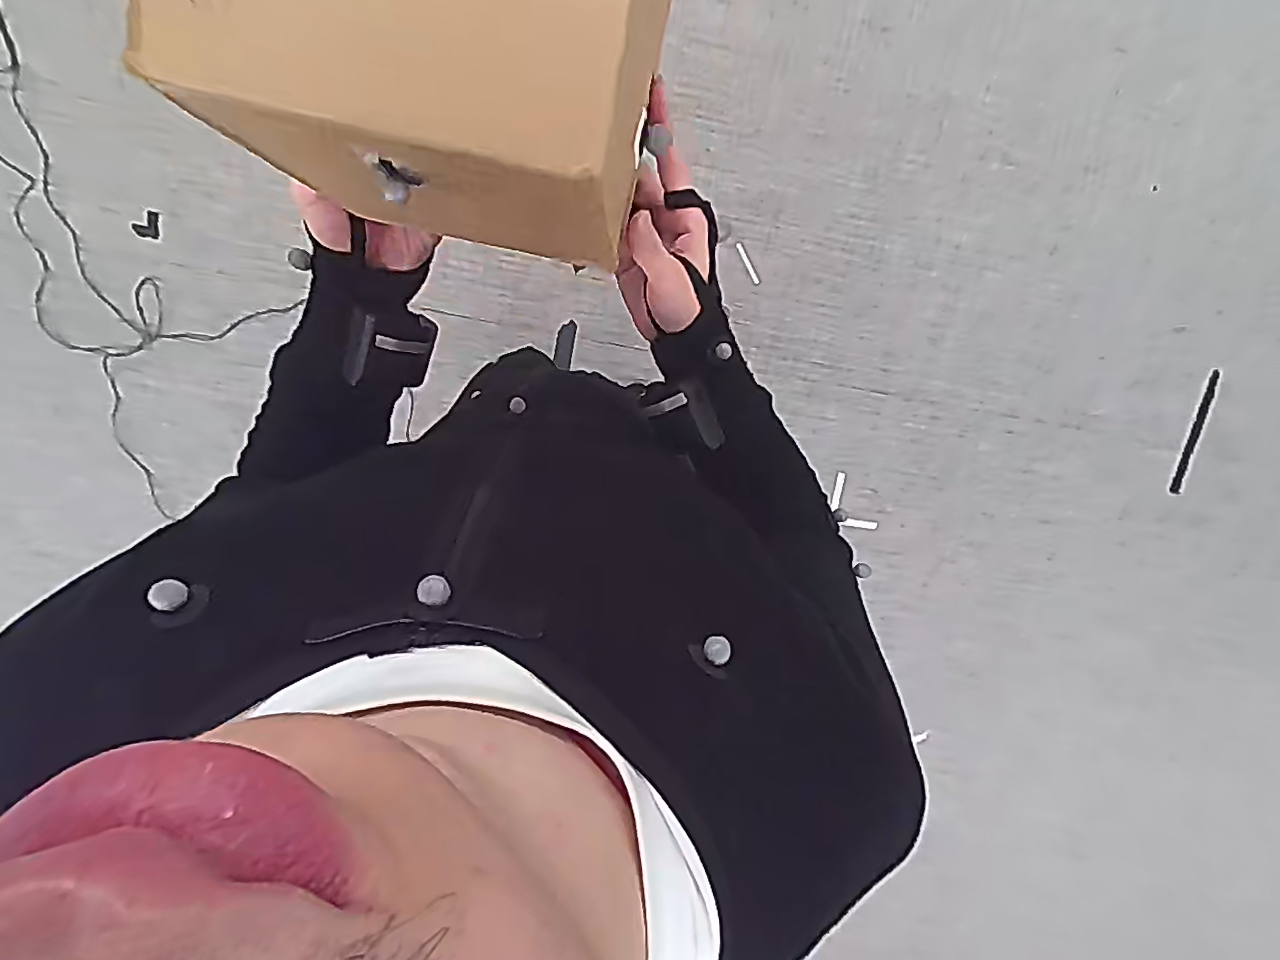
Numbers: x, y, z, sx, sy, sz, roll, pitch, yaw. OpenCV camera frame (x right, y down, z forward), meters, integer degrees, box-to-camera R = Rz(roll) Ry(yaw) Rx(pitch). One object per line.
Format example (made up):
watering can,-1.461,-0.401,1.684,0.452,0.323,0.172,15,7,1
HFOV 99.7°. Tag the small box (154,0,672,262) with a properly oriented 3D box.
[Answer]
small box,-0.081,-0.224,0.272,0.179,0.176,0.168,11,100,-2
